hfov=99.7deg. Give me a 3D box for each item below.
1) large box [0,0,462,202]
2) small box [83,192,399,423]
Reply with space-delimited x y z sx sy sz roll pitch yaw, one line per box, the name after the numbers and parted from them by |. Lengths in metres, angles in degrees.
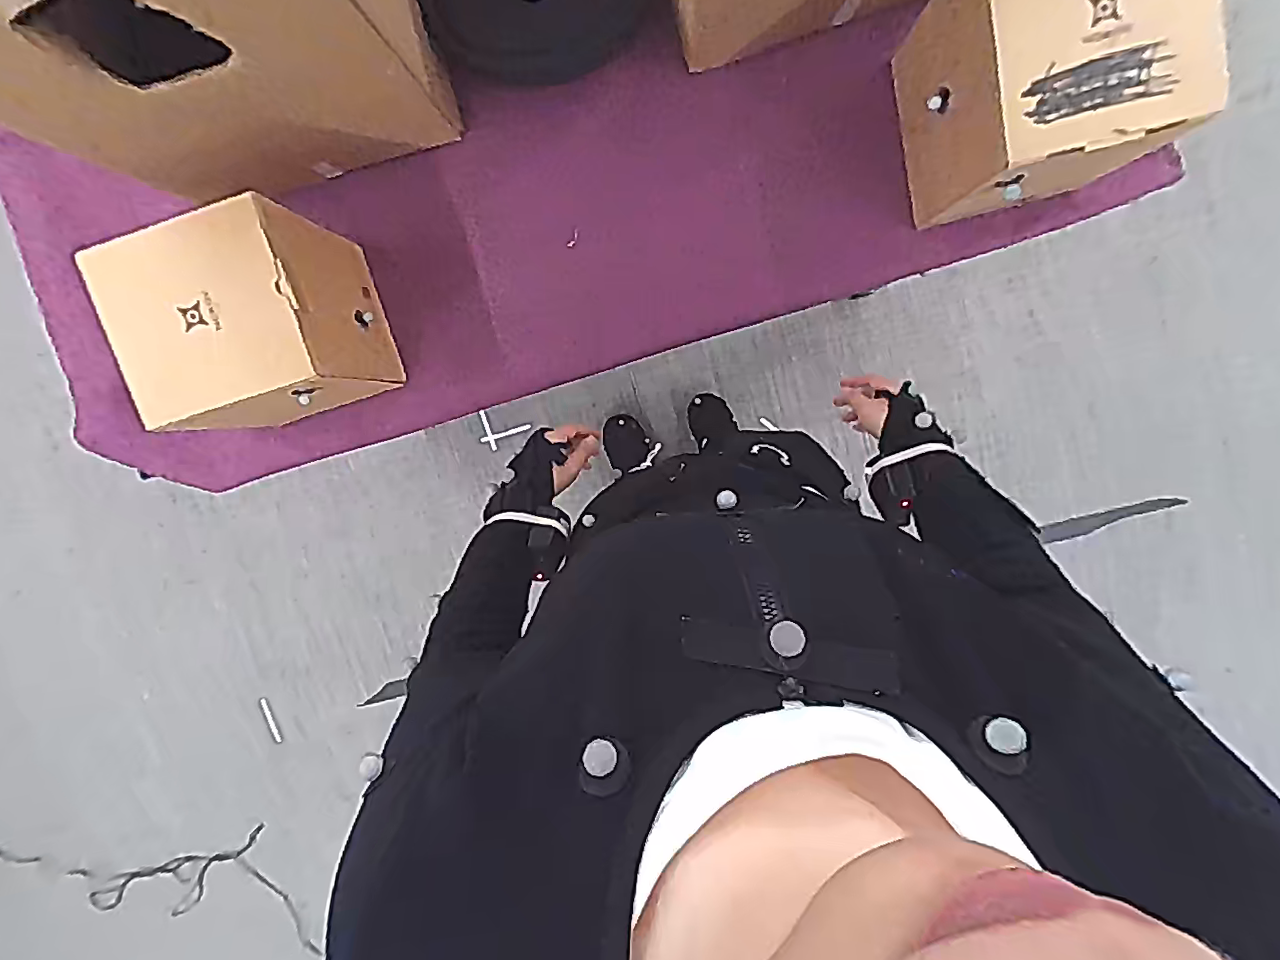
-0.396 -0.512 0.440 0.320 0.320 0.408 -14 101 5 | large box
-0.392 -0.161 0.566 0.179 0.176 0.168 -17 97 5 | small box
